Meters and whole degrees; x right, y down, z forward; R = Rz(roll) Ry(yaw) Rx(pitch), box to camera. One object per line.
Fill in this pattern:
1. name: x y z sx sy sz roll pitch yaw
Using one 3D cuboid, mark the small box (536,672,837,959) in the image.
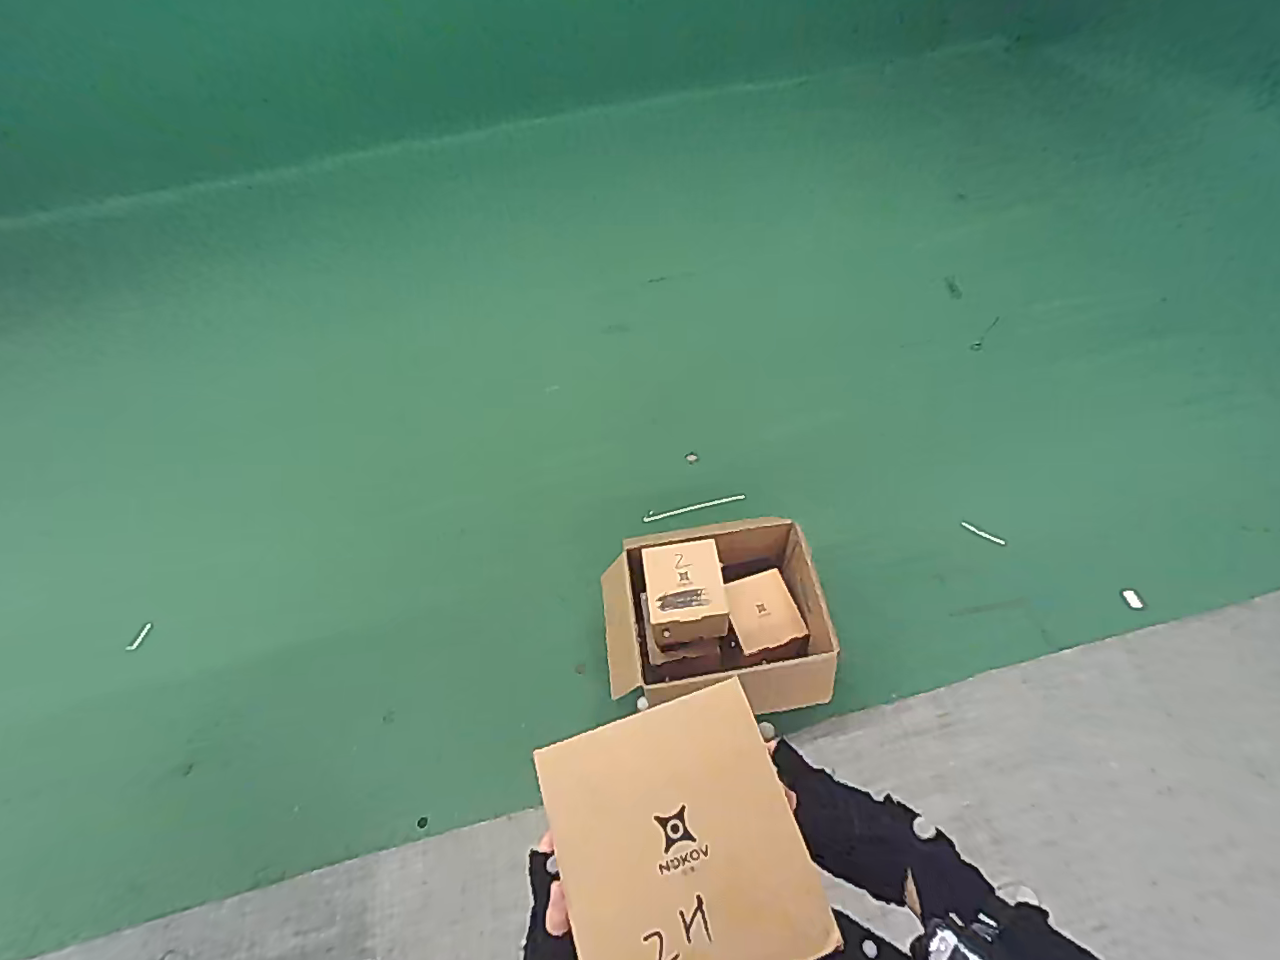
1. small box: 0.026 0.279 0.442 0.168 0.176 0.179 -17 64 -6
